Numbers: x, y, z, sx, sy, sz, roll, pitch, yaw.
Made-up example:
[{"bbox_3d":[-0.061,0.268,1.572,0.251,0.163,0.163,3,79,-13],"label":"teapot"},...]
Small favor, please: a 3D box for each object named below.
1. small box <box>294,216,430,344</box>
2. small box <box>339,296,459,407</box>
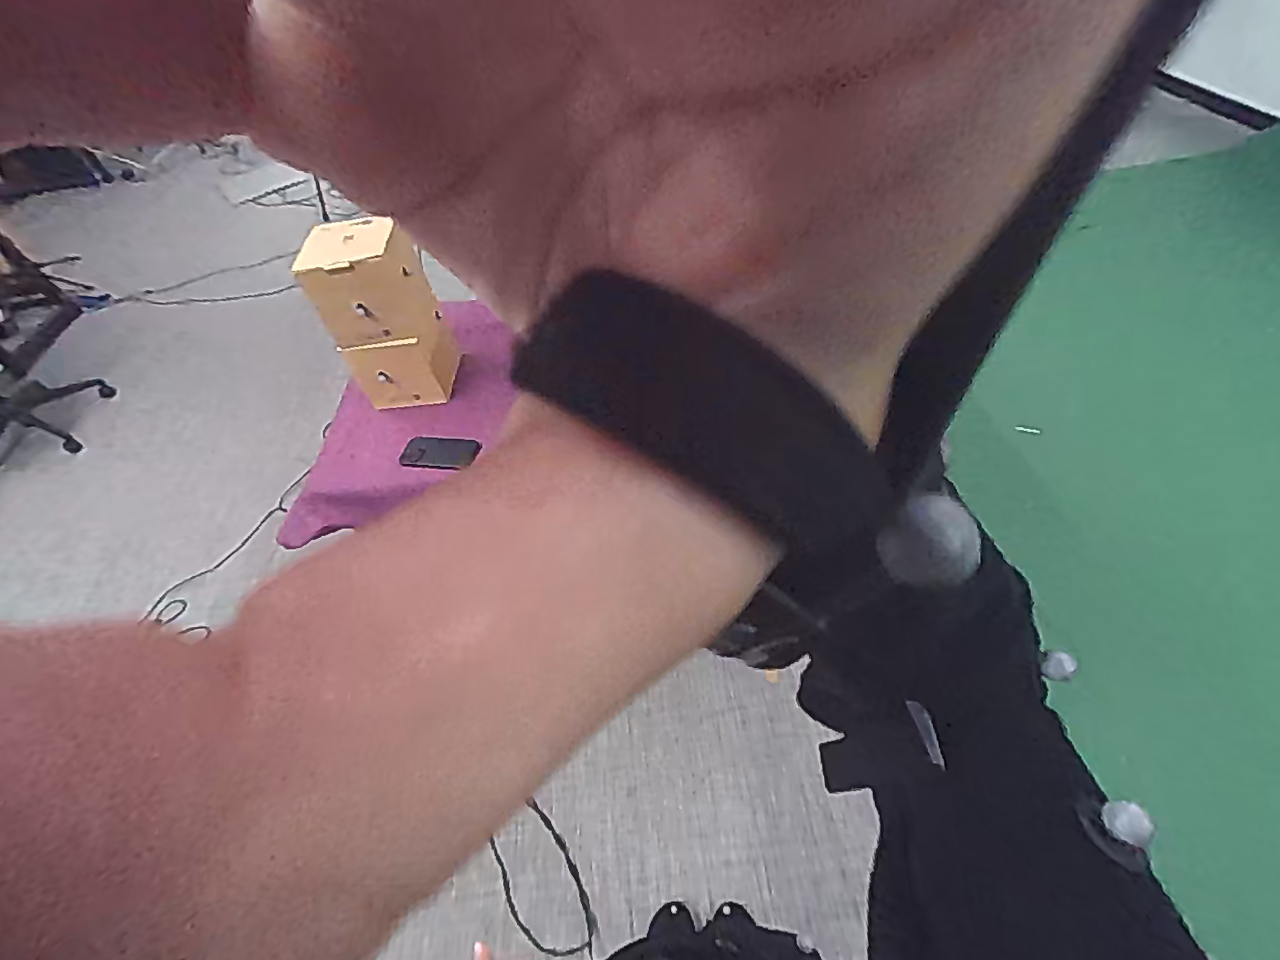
[{"bbox_3d":[-0.527,-0.382,1.057,0.168,0.176,0.179,-9,51,-1],"label":"small box"},{"bbox_3d":[-0.511,-0.272,1.178,0.168,0.176,0.179,-5,50,3],"label":"small box"}]
